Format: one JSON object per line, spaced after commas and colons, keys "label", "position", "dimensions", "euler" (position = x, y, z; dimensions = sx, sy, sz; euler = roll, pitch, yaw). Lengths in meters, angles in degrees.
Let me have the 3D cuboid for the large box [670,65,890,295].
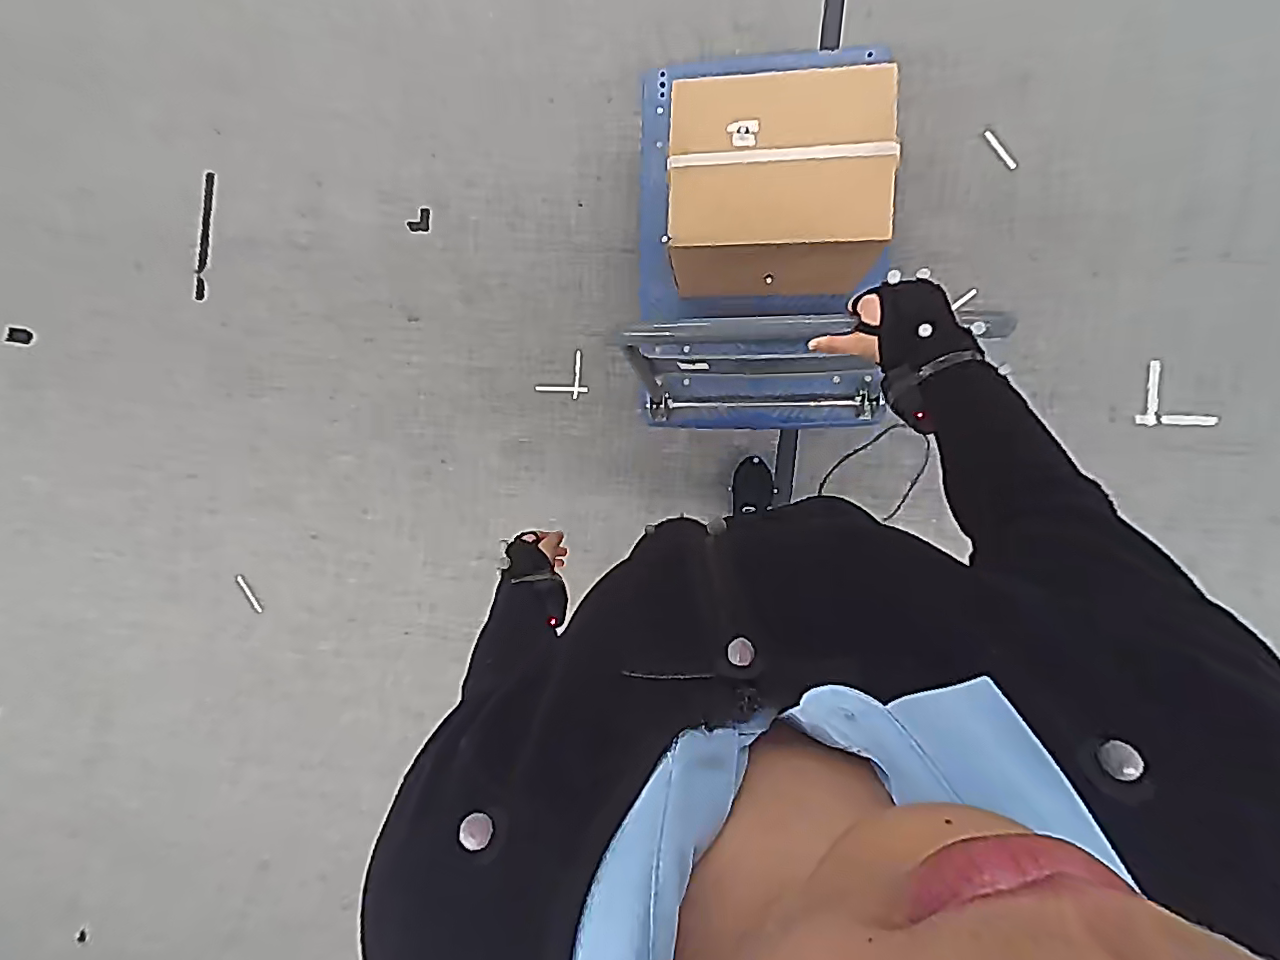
{"label": "large box", "position": [0.282, -0.599, 1.153], "dimensions": [0.408, 0.320, 0.320], "euler": [1, 90, 10]}
